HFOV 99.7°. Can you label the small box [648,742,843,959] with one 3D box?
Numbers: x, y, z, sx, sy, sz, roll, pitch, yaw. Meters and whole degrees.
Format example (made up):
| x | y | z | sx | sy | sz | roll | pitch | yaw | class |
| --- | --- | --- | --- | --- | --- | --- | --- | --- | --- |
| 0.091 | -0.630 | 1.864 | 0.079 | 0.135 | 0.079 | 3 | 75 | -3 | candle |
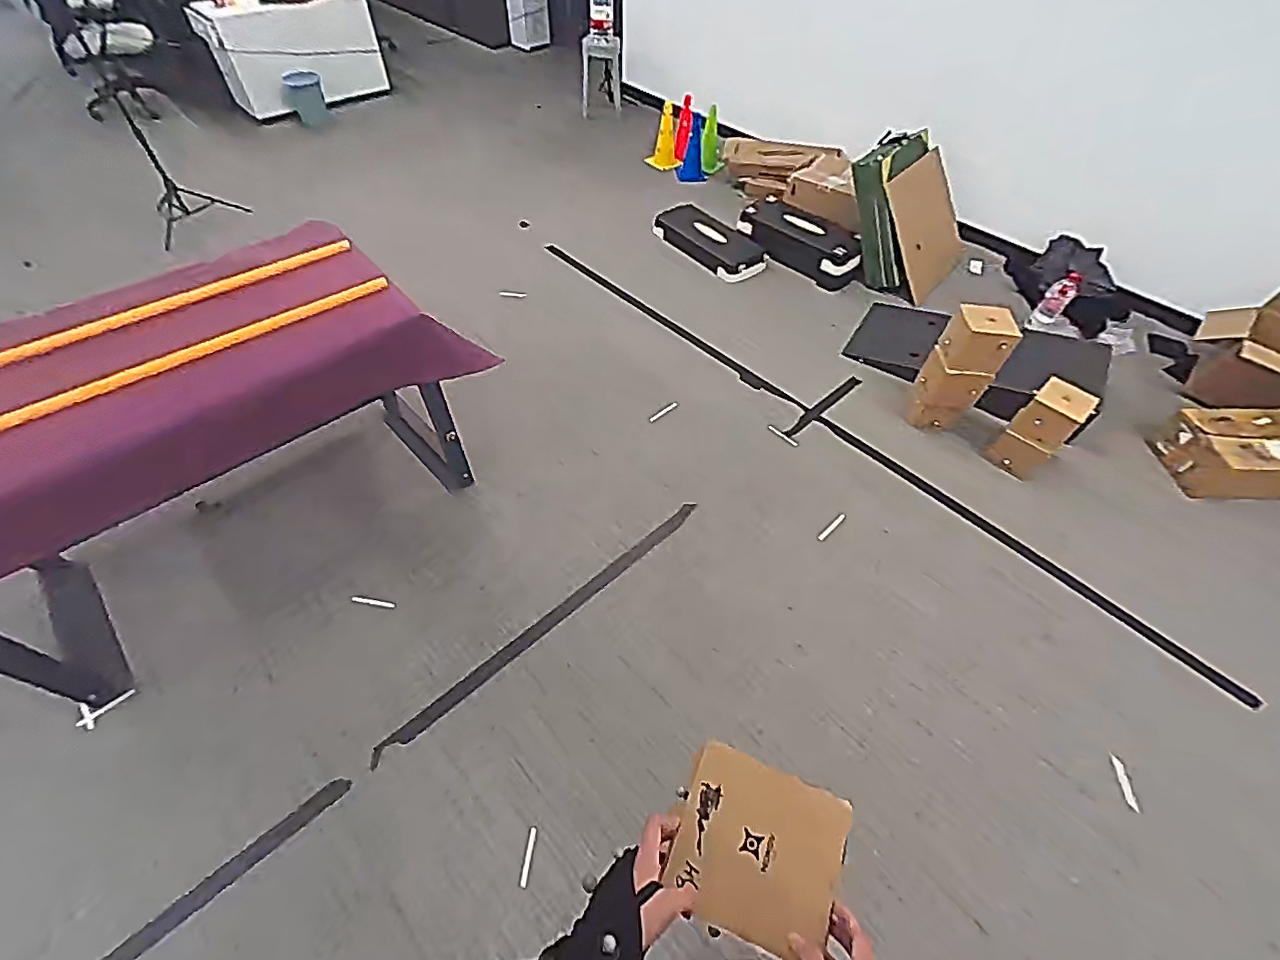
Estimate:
| x | y | z | sx | sy | sz | roll | pitch | yaw | class |
| --- | --- | --- | --- | --- | --- | --- | --- | --- | --- |
| 0.120 | 0.445 | 0.663 | 0.179 | 0.176 | 0.168 | 21 | 60 | 11 | small box |
